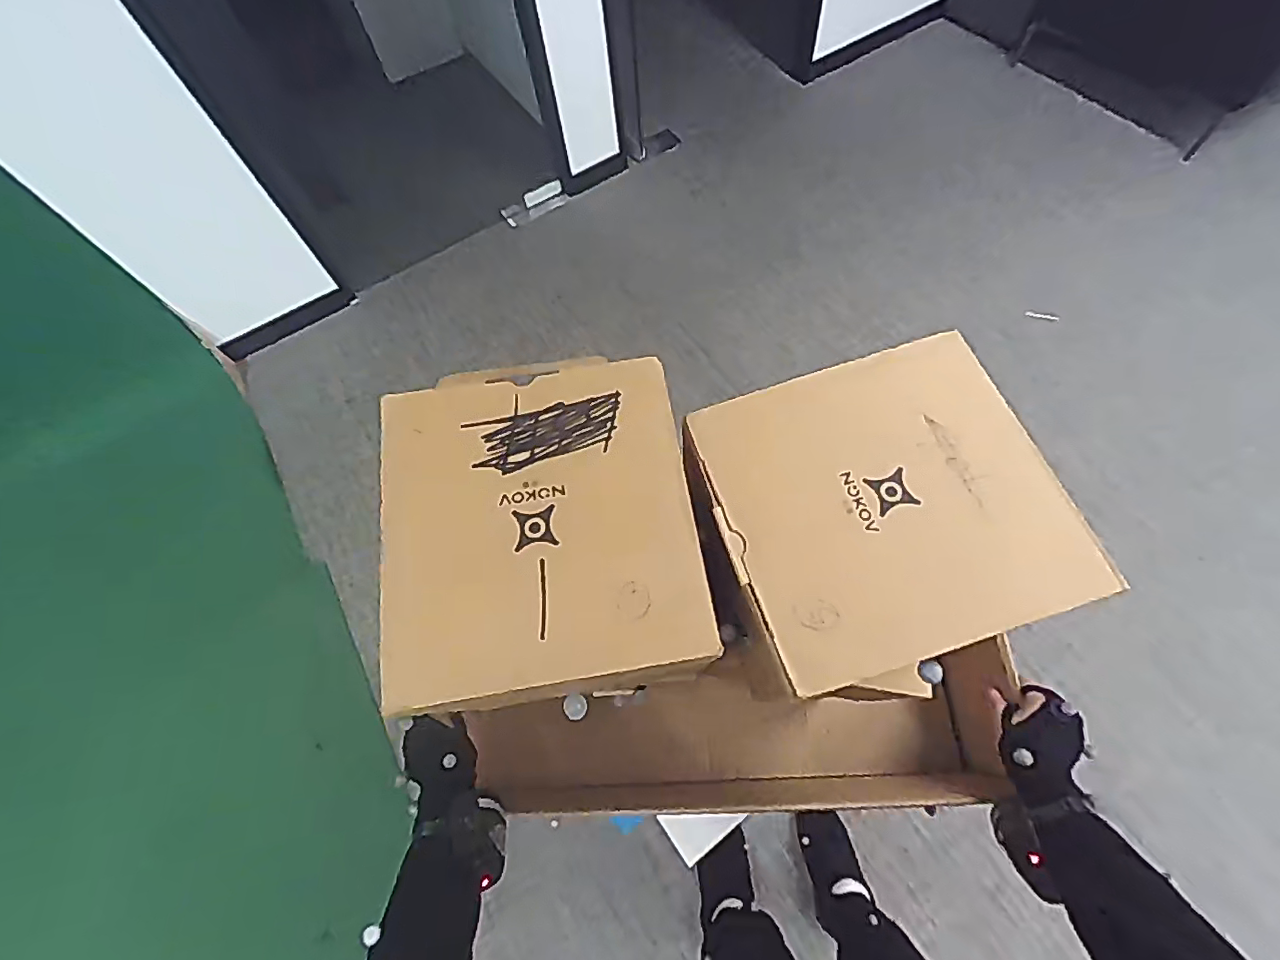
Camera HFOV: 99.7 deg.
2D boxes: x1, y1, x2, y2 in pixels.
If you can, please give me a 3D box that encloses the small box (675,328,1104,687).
[{"bbox_3d":[0.133,0.034,0.367,0.179,0.176,0.168,-17,67,-2],"label":"small box"}]
